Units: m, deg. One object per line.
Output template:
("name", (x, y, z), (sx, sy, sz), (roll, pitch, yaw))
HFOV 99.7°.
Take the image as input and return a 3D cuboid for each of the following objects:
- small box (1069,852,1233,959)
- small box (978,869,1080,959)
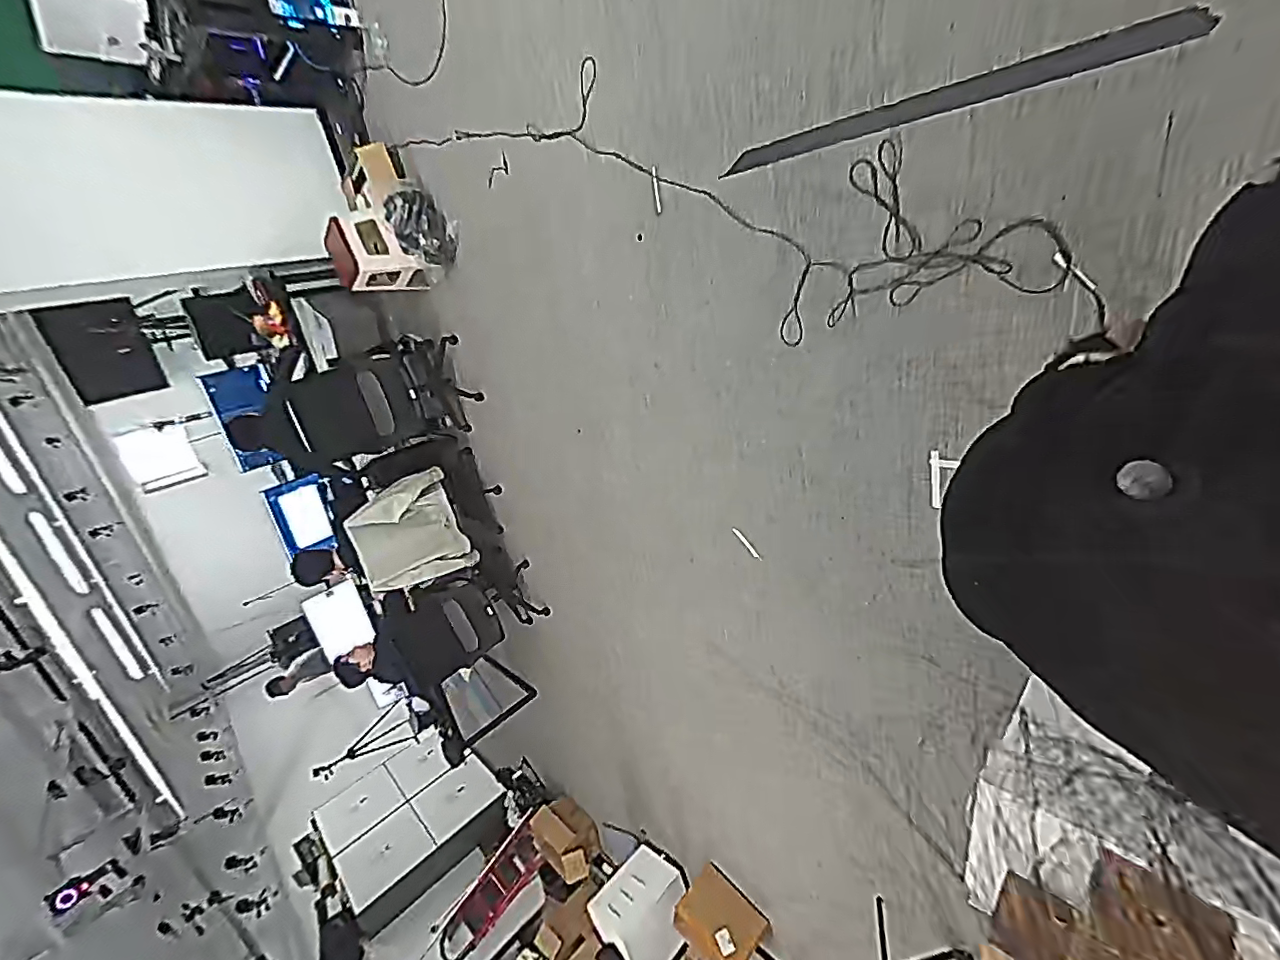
("small box", (0.822, 0.764, 0.878), (0.168, 0.176, 0.179), (17, 125, 43))
("small box", (0.767, 0.914, 1.038), (0.168, 0.176, 0.179), (13, 120, 43))
